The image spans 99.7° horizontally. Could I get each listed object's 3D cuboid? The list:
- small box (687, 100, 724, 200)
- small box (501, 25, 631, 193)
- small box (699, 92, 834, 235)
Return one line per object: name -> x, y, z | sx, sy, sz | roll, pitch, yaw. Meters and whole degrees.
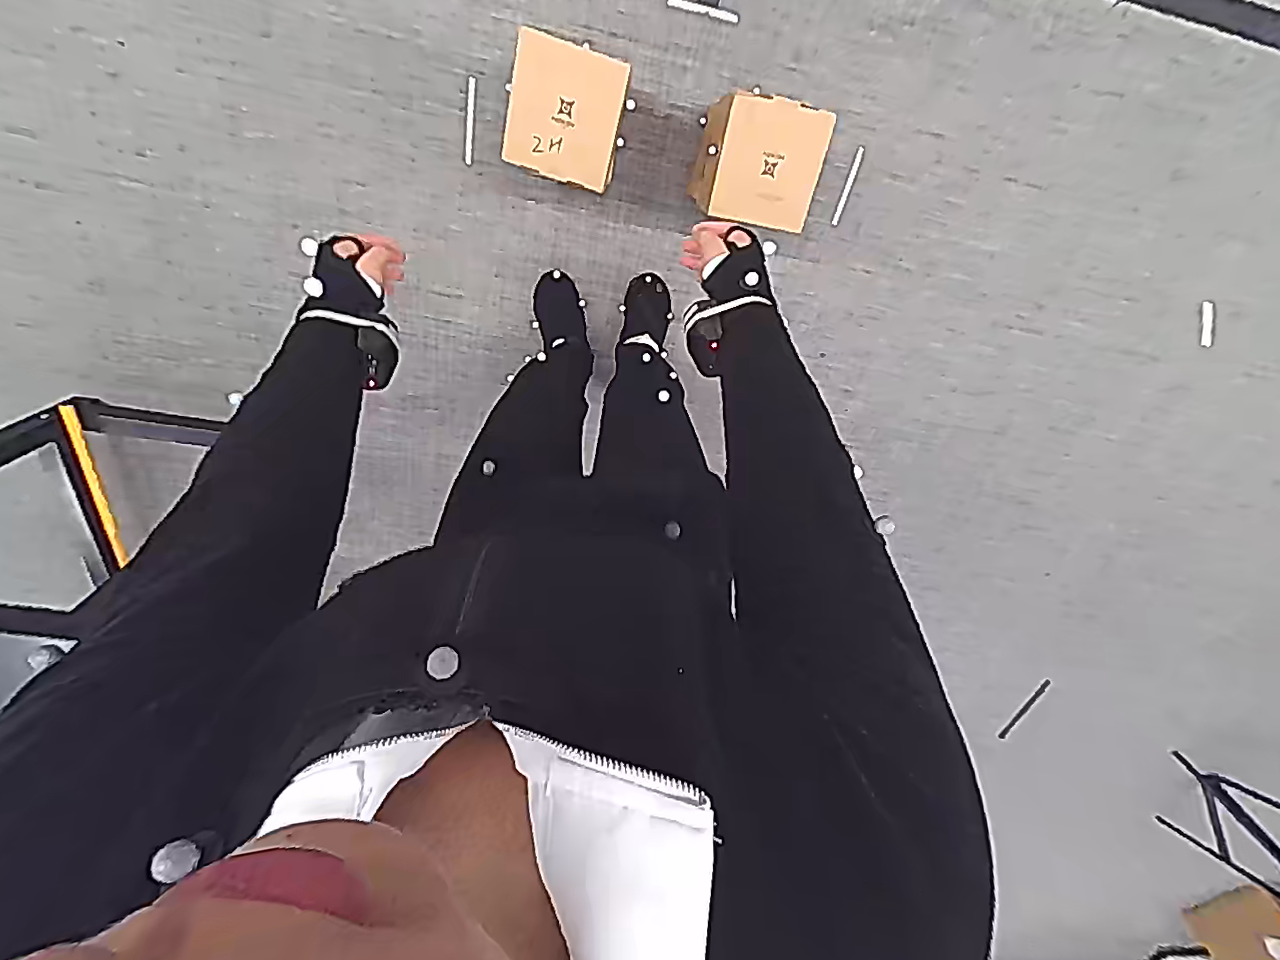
small box -> 0.203, -0.626, 1.071 | 0.179, 0.176, 0.168 | 11, 121, -10
small box -> -0.118, -0.593, 0.883 | 0.168, 0.176, 0.179 | 14, 120, -10
small box -> 0.203, -0.543, 0.931 | 0.168, 0.176, 0.179 | 8, 122, -6
